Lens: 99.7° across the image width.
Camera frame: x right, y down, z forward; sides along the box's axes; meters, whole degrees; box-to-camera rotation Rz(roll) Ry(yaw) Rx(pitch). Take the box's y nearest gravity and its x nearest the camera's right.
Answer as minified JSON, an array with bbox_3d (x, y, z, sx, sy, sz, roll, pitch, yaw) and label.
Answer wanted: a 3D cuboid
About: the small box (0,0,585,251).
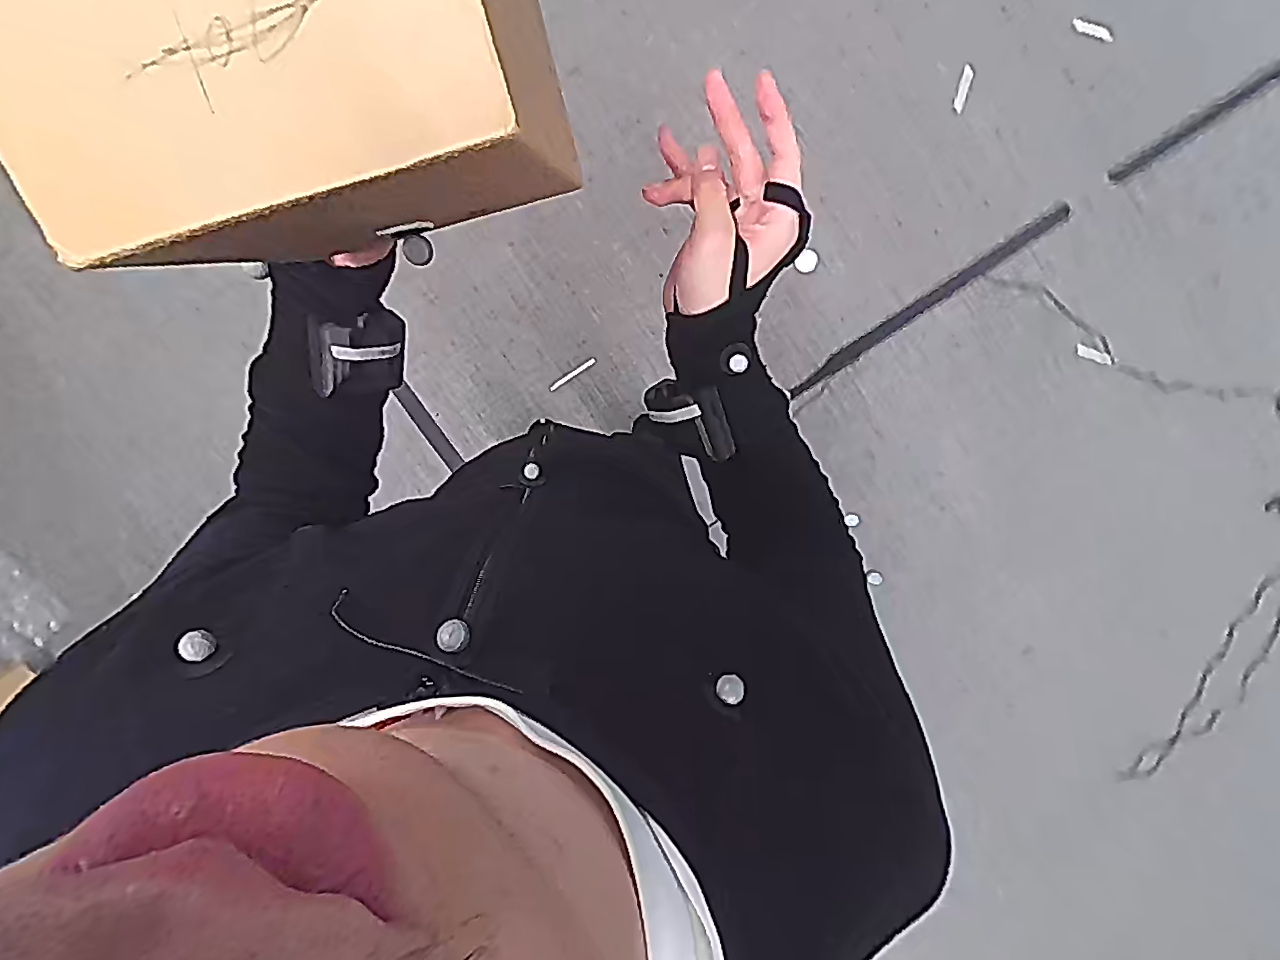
[{"bbox_3d":[-0.129,-0.205,0.230,0.168,0.176,0.179,-11,113,7],"label":"small box"}]
